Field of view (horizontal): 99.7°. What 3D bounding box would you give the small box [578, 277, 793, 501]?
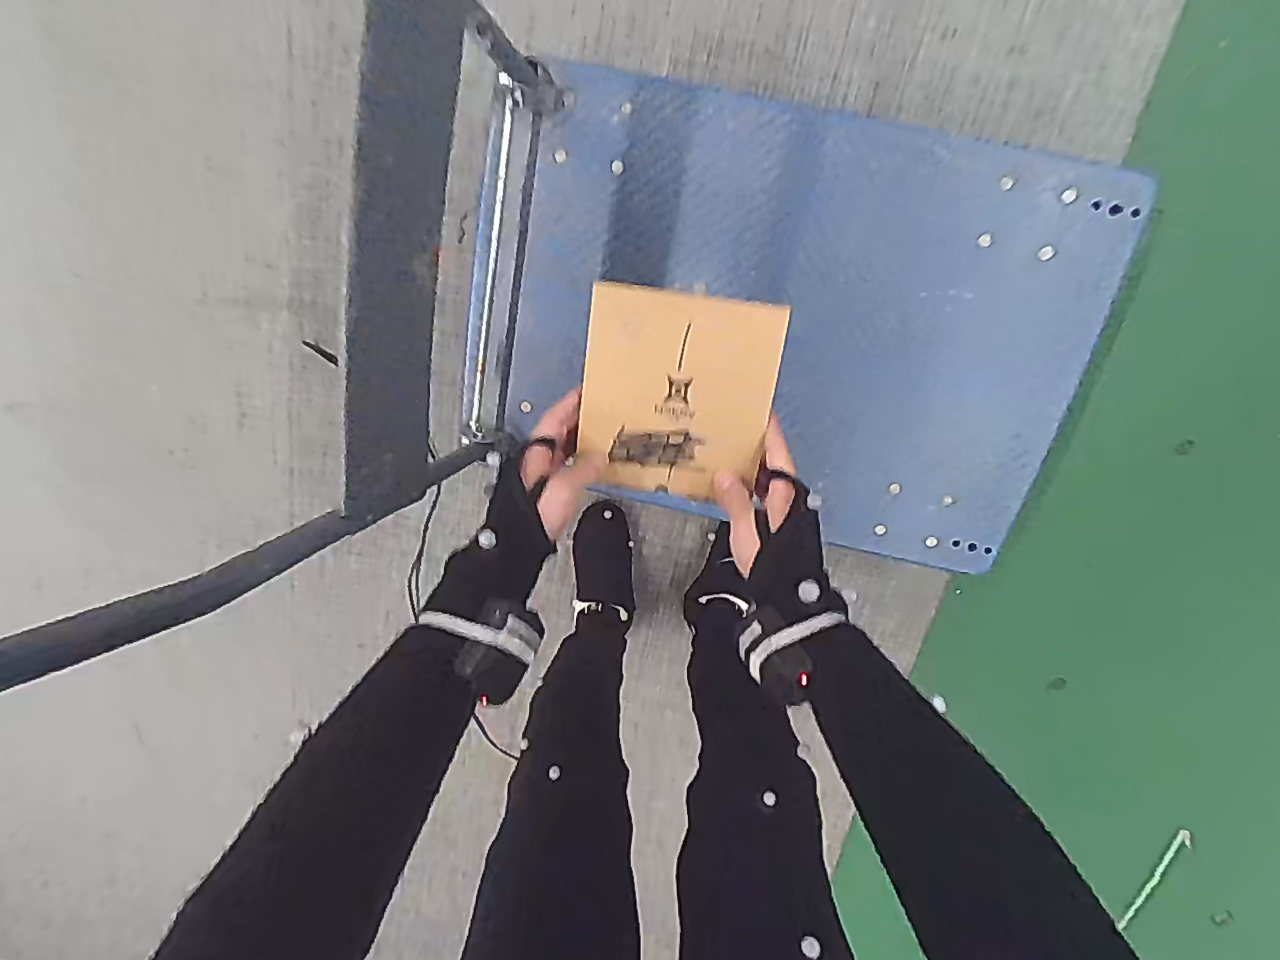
[{"bbox_3d":[0.042,-0.097,0.547,0.168,0.176,0.179,9,107,2],"label":"small box"}]
